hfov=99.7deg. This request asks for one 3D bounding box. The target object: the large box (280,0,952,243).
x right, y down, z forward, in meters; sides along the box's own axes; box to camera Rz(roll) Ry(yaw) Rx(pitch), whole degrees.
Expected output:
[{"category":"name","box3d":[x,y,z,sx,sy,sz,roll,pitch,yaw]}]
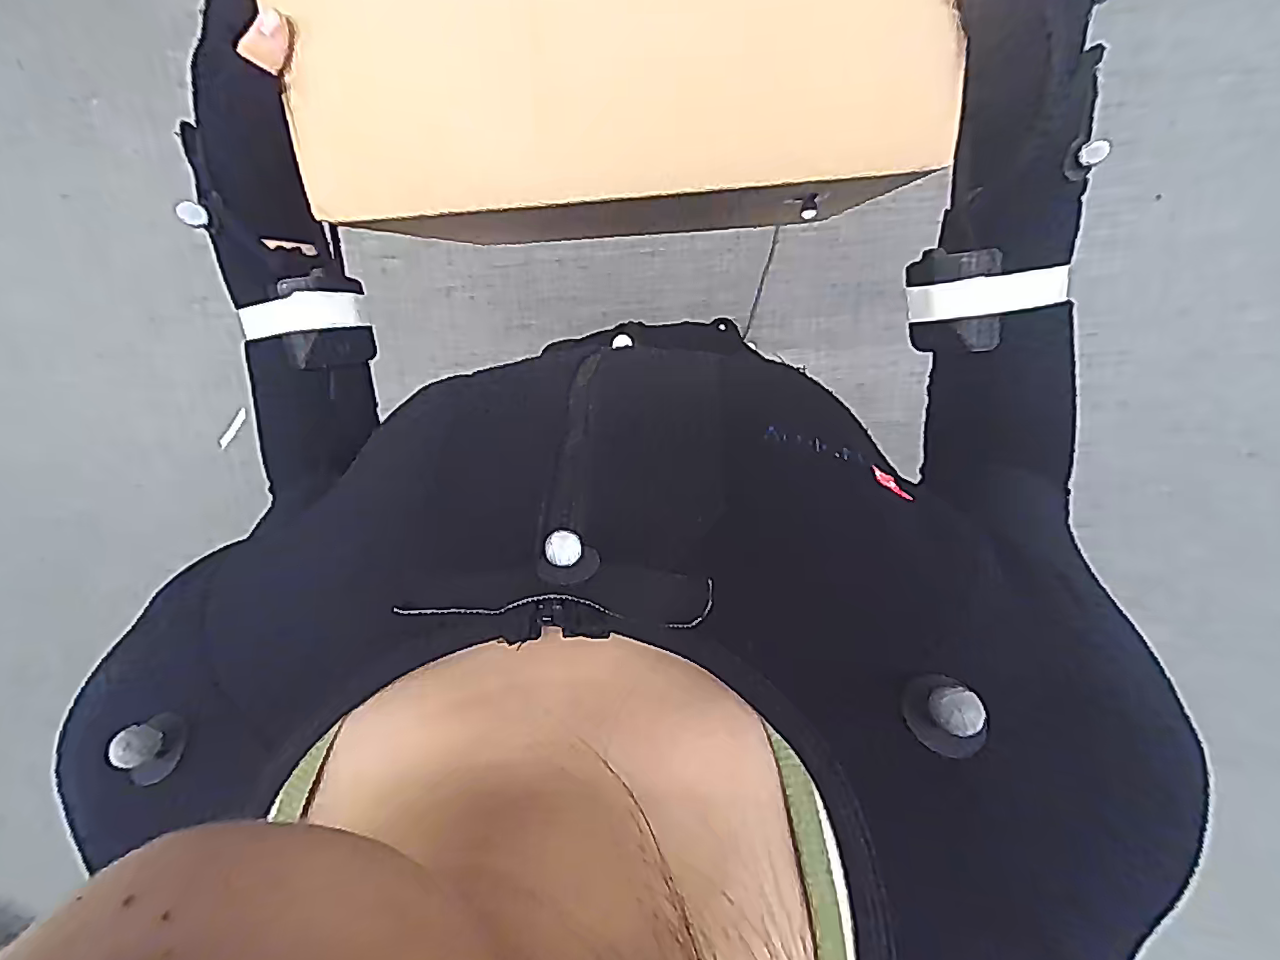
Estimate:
[{"category":"large box","box3d":[-0.011,-0.381,0.440,0.408,0.320,0.320,-2,110,6]}]
